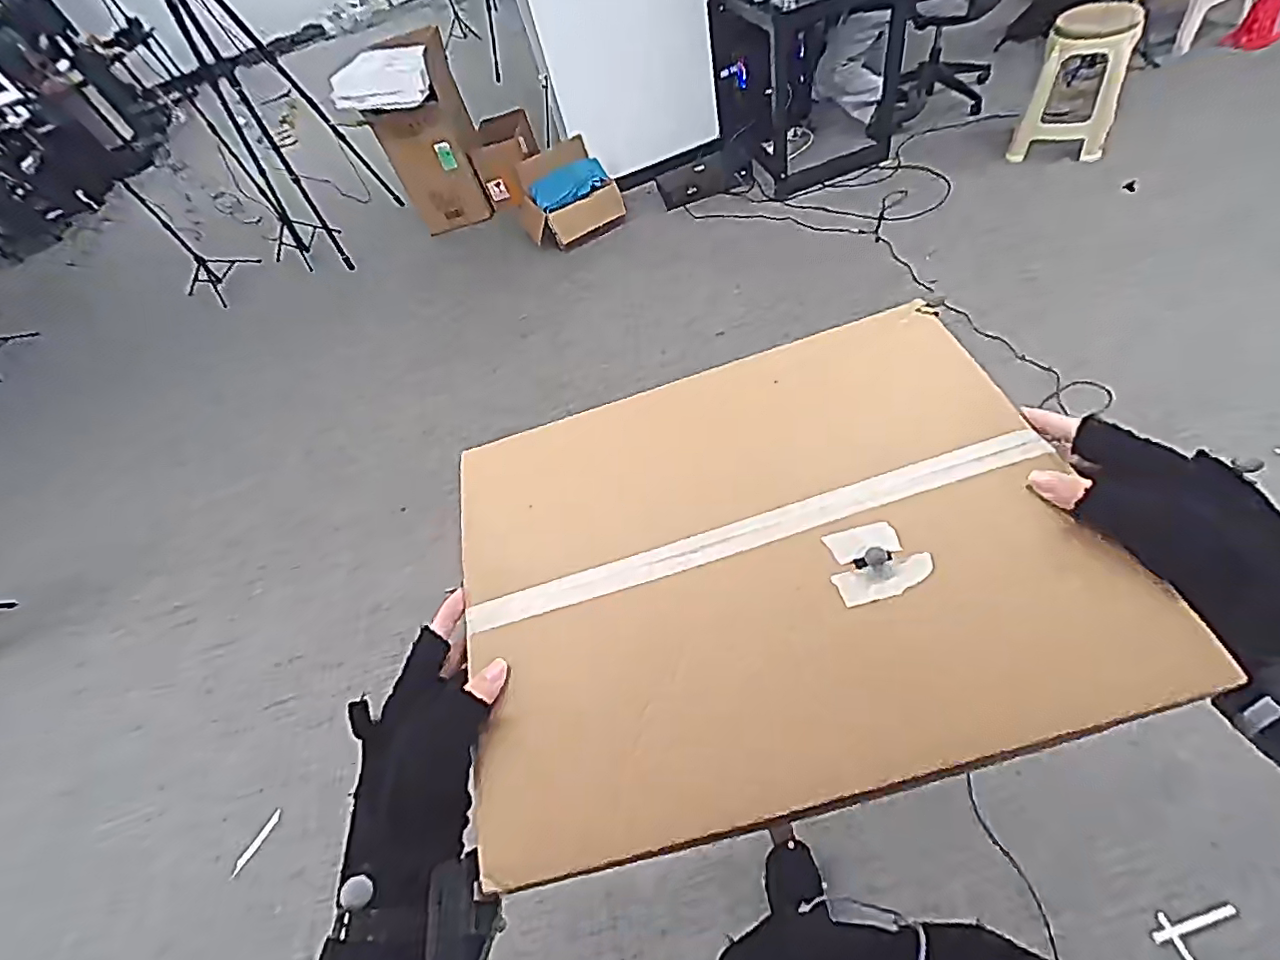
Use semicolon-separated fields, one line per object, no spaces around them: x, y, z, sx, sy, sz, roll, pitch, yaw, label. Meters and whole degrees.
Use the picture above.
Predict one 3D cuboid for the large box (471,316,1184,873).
0.104;0.120;0.504;0.408;0.320;0.320;-18;56;3;large box
